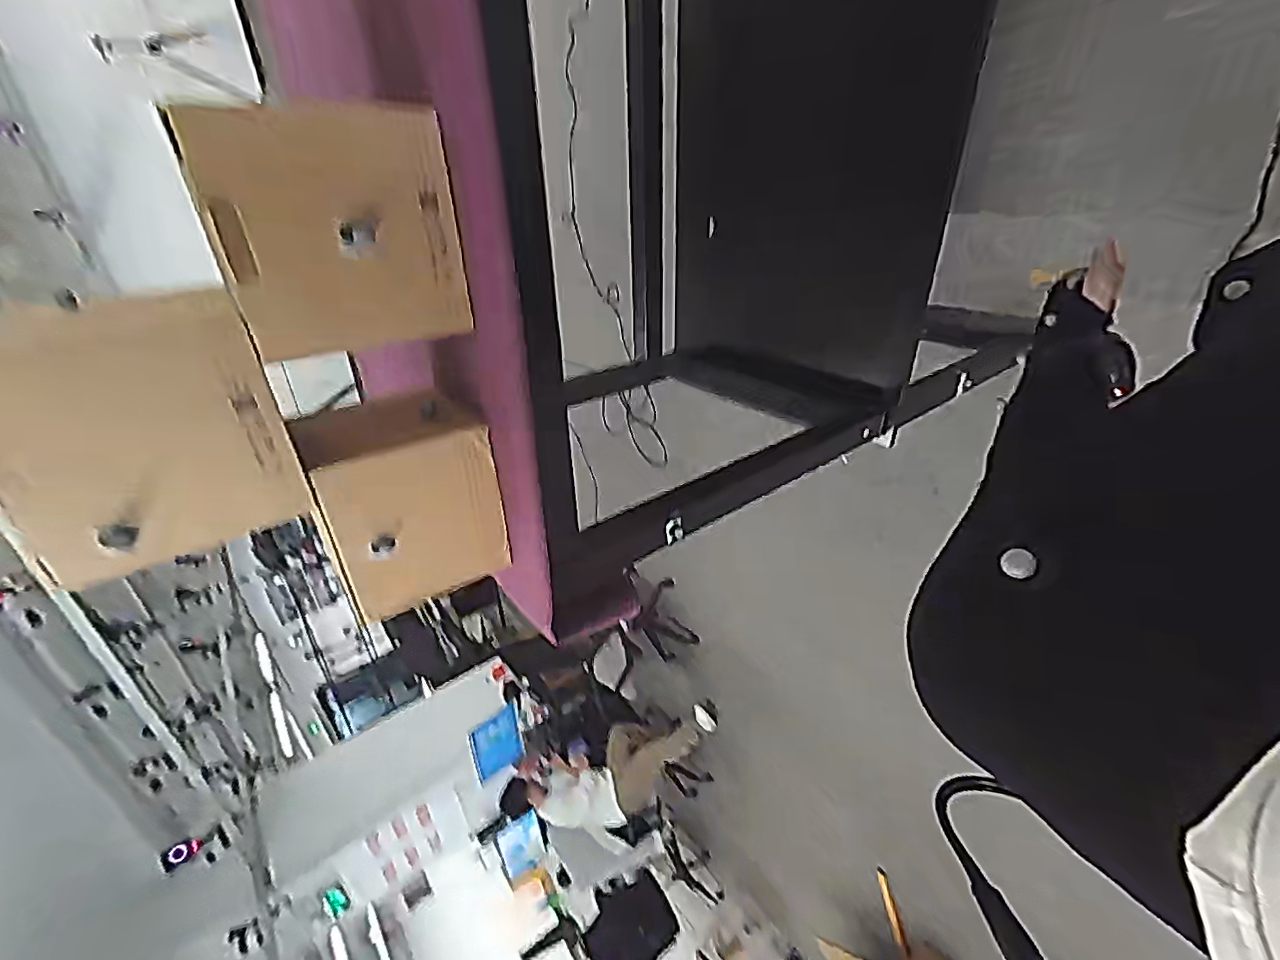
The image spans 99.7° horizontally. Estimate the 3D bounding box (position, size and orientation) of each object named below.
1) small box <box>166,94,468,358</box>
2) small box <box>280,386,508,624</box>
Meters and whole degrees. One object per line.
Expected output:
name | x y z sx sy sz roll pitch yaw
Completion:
small box | -0.258 -0.216 0.457 0.179 0.176 0.168 31 132 44
small box | -0.255 0.014 0.584 0.168 0.176 0.179 29 130 44
